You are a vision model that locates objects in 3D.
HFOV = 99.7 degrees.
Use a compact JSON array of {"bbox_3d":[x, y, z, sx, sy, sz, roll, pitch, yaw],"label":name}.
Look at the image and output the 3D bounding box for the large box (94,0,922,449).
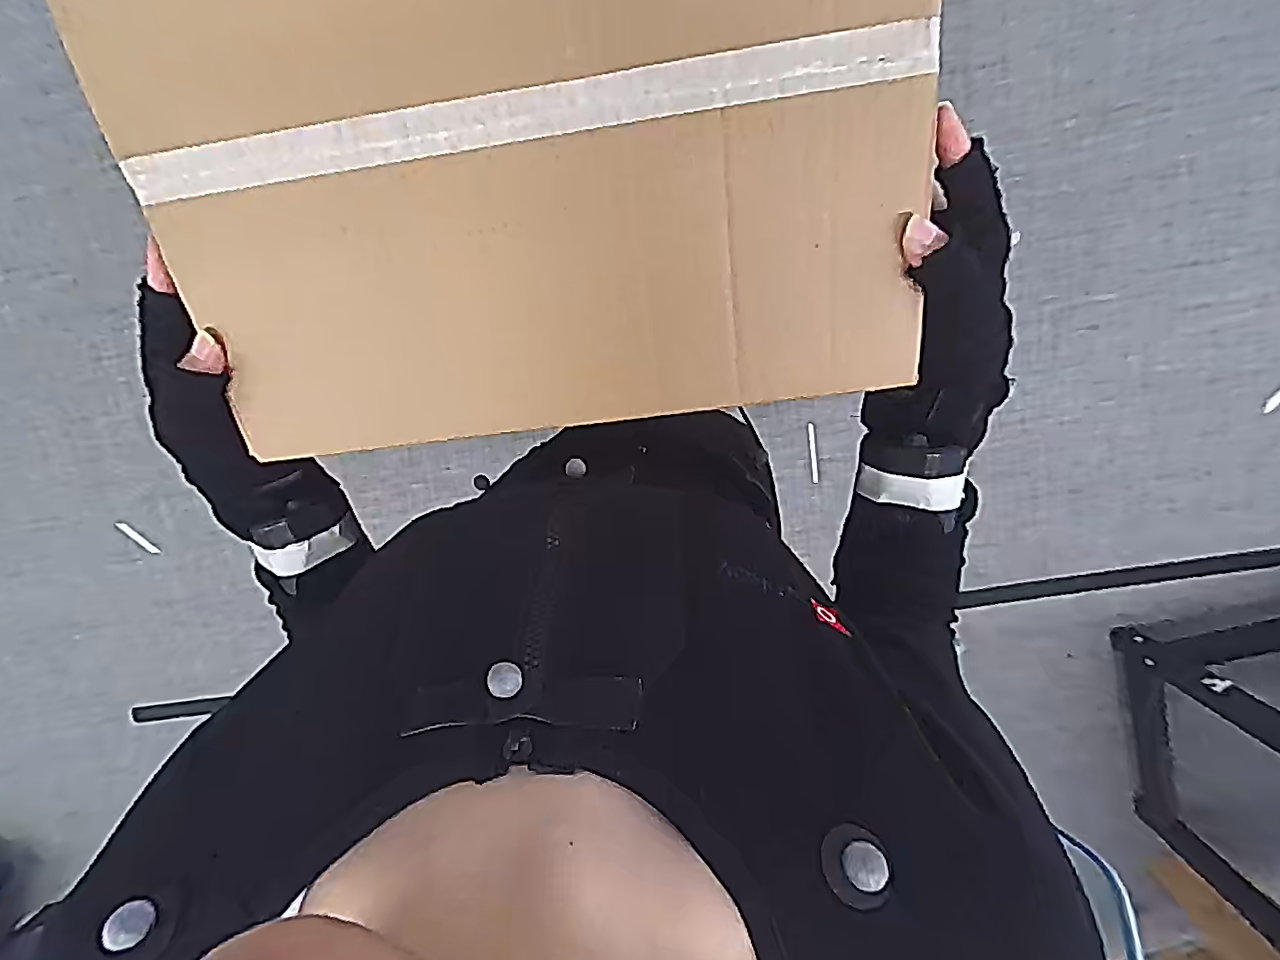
[{"bbox_3d":[-0.057,-0.240,0.416,0.408,0.320,0.320,-7,113,5],"label":"large box"}]
